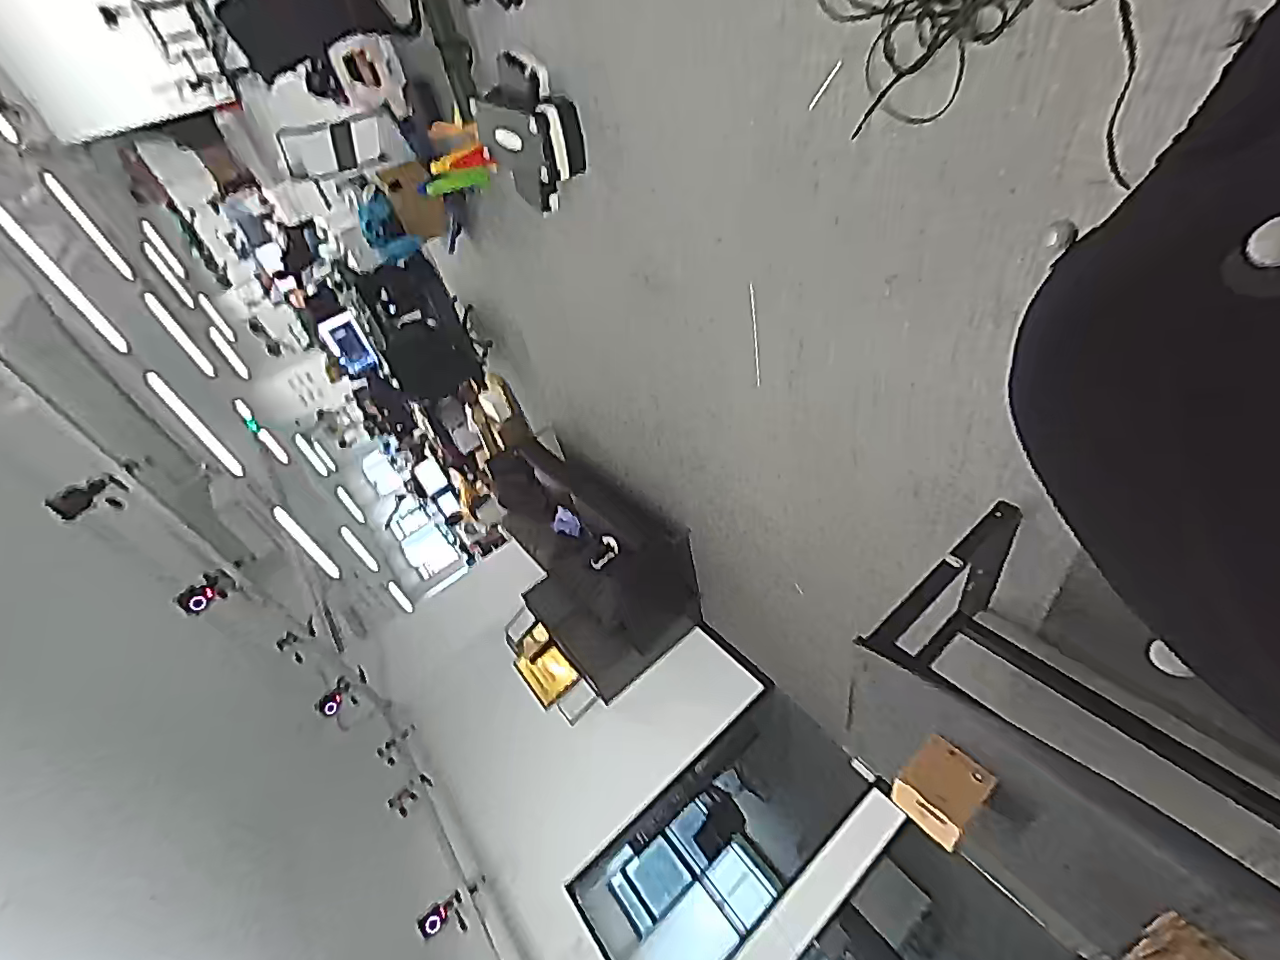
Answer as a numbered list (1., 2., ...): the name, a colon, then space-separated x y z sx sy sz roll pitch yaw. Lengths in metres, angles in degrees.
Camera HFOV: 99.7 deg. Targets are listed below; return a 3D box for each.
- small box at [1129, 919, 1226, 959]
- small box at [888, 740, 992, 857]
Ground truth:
1. small box: 1.070 1.017 1.054 0.168 0.176 0.179 32 148 45
2. small box: 0.771 0.814 1.395 0.168 0.176 0.179 35 151 42
